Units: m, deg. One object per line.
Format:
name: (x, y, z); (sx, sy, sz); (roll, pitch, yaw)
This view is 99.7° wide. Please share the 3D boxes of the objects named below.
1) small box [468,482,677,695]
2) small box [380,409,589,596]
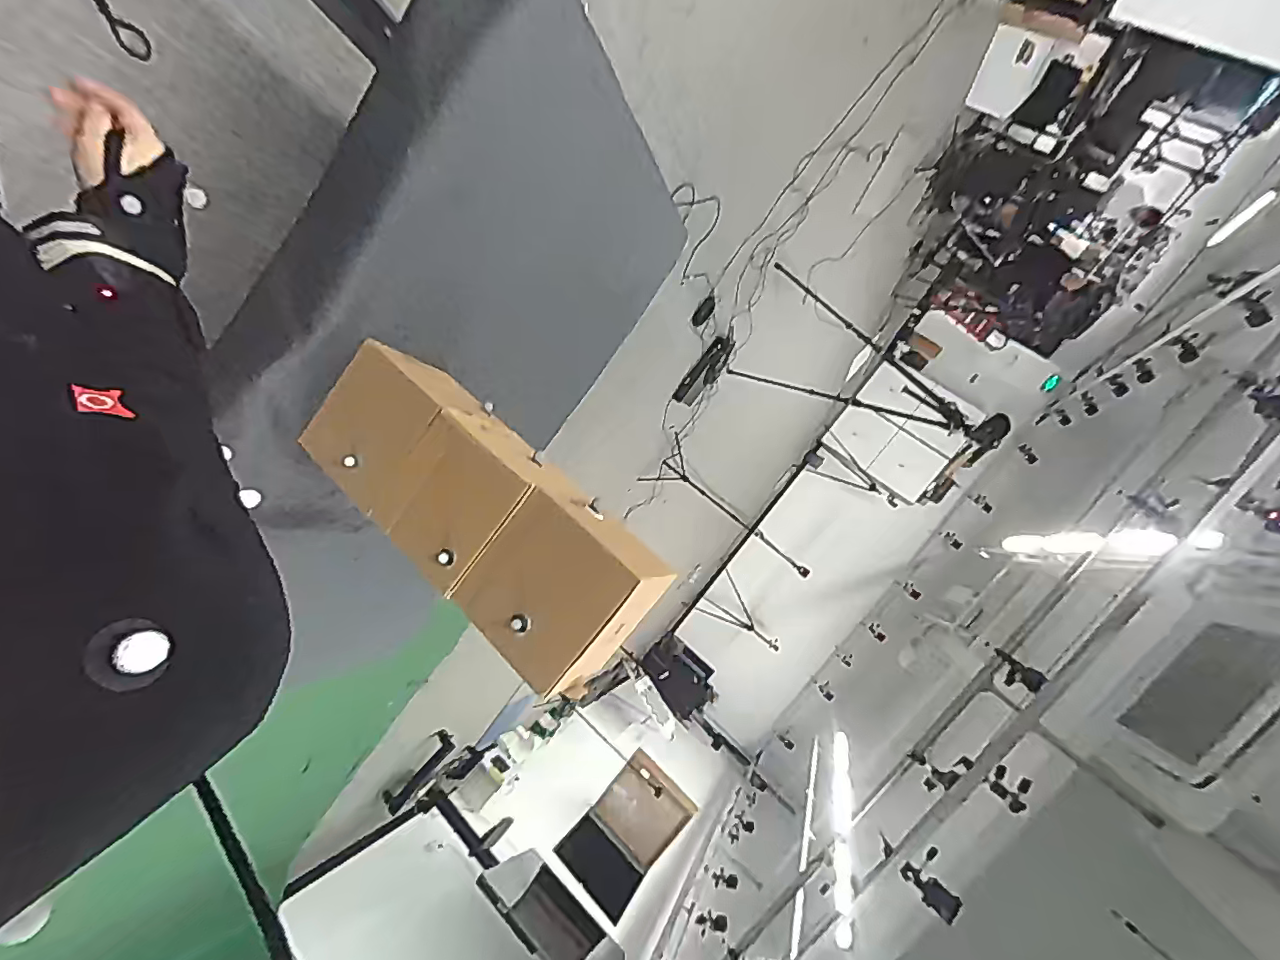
small box: (-0.085, 0.127, 0.677); (0.179, 0.176, 0.168); (-53, 162, 6)
small box: (-0.206, 0.030, 0.726); (0.179, 0.176, 0.168); (-52, 161, 6)
